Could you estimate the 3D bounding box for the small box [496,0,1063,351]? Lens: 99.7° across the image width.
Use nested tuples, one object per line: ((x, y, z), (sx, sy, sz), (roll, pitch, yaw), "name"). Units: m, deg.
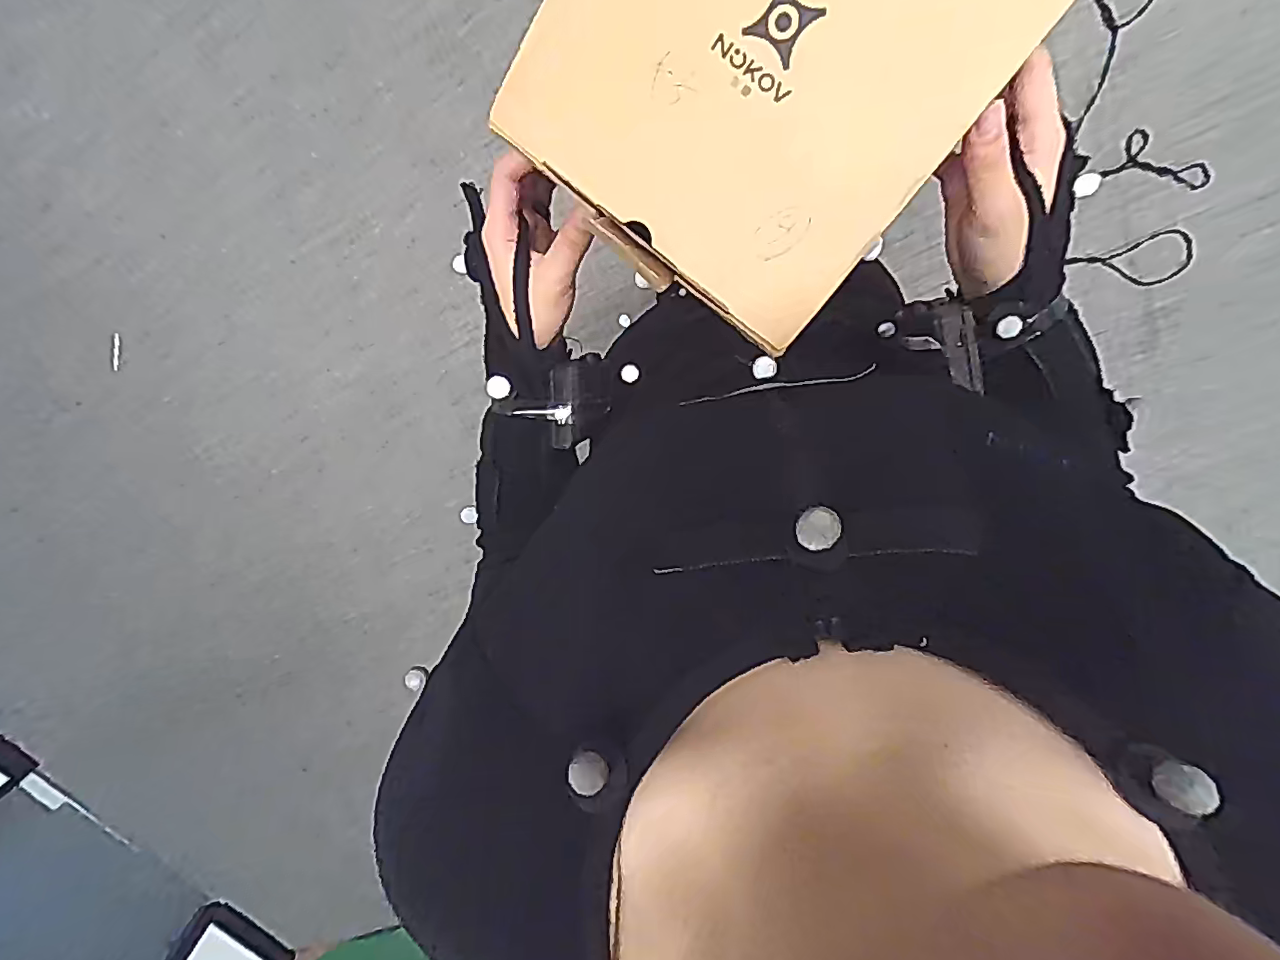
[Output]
((0.060, -0.193, 0.296), (0.168, 0.176, 0.179), (37, 109, -3), "small box")
